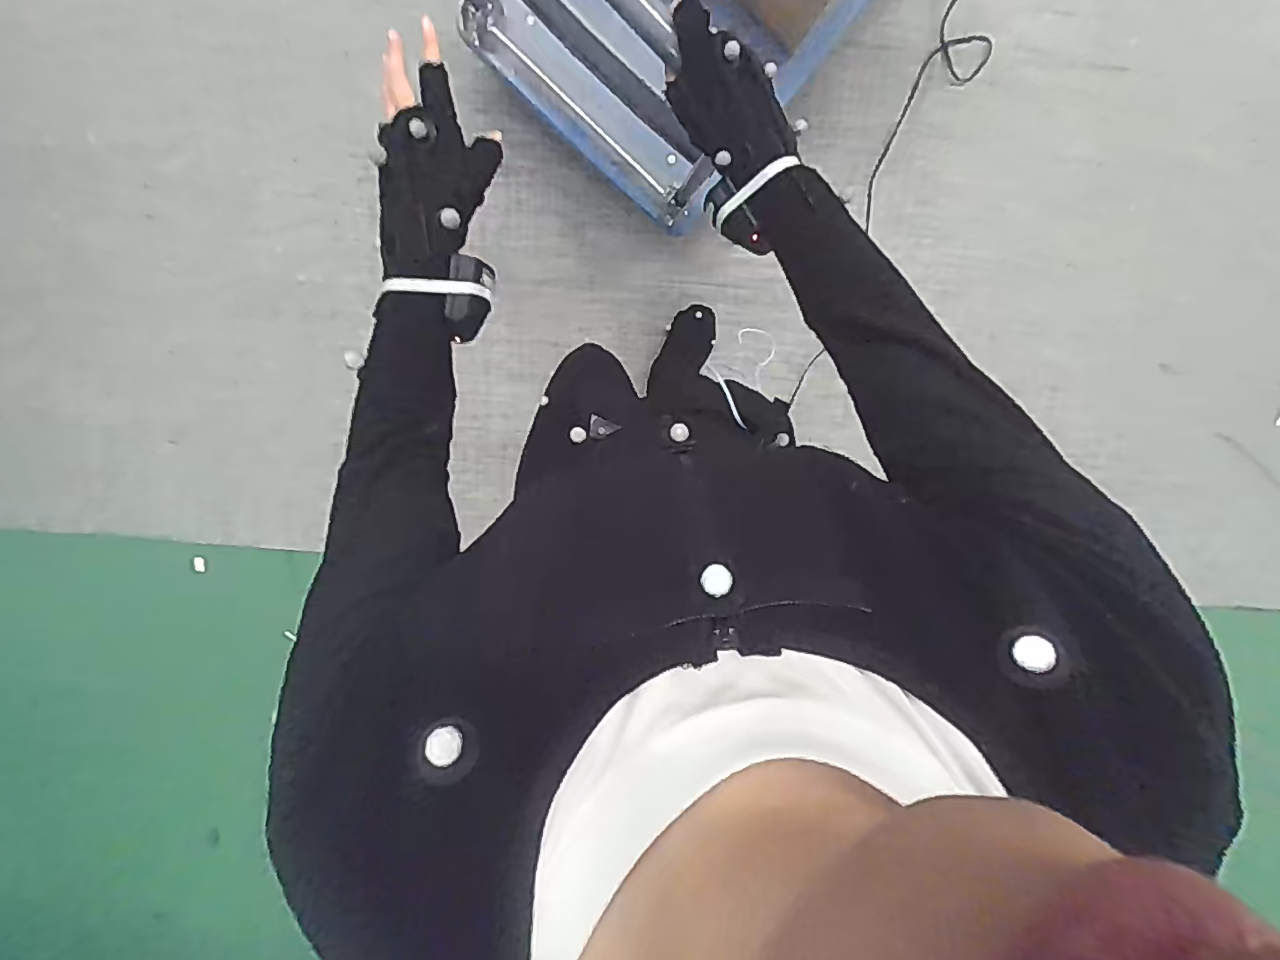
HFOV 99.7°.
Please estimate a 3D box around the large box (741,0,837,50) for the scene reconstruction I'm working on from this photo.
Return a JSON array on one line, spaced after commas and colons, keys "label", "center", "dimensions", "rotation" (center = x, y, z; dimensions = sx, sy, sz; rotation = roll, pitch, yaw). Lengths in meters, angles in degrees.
[{"label": "large box", "center": [0.228, -0.983, 0.812], "dimensions": [0.408, 0.320, 0.320], "rotation": [36, 106, -12]}]
